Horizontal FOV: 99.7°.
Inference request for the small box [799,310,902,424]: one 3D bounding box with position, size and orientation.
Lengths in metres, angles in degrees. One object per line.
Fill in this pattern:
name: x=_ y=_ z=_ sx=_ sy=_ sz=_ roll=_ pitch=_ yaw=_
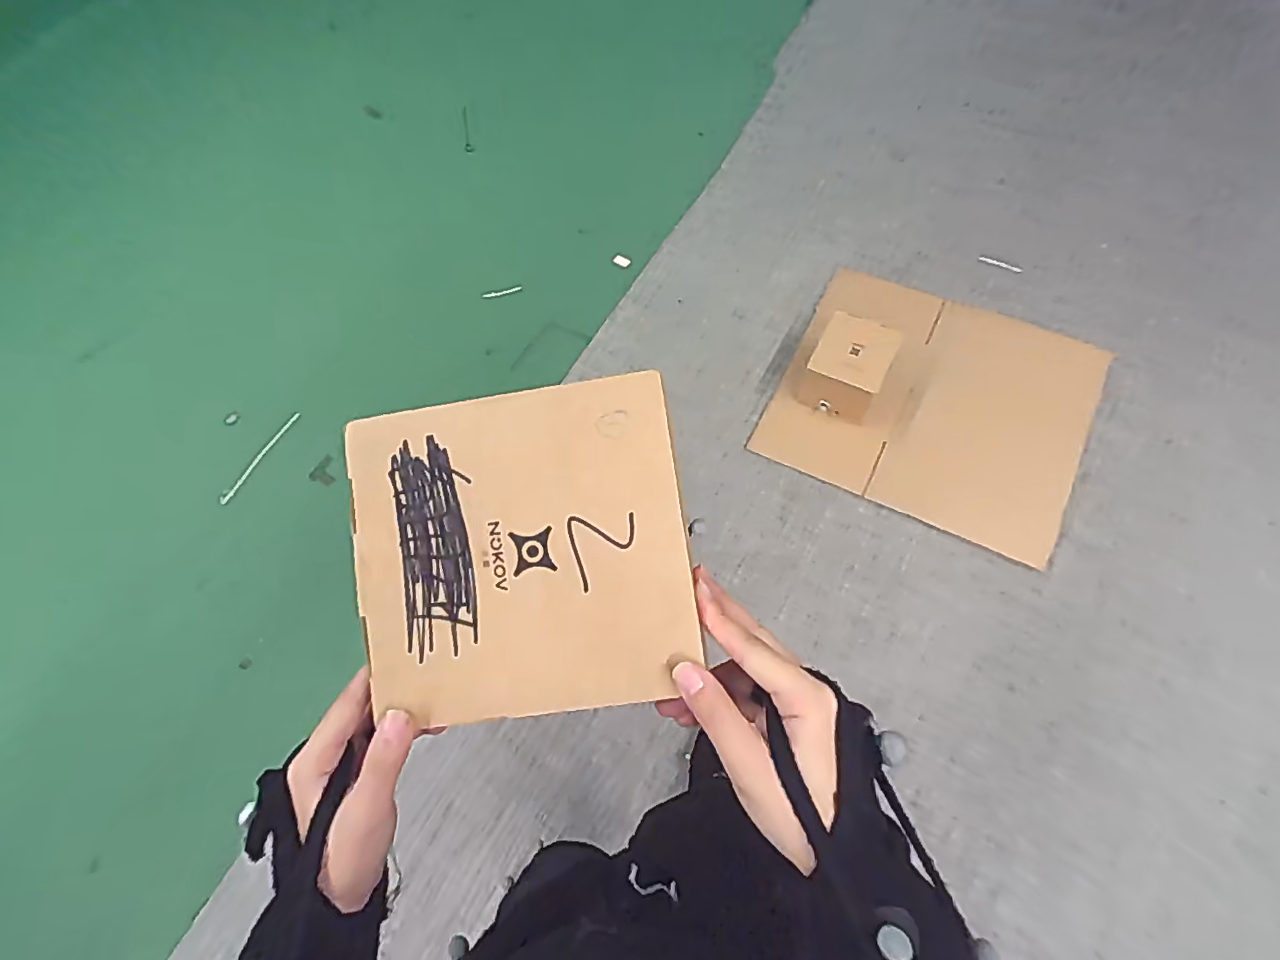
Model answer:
small box: x=0.494 y=-0.265 z=1.296 sx=0.168 sy=0.176 sz=0.179 roll=25 pitch=76 yaw=16
